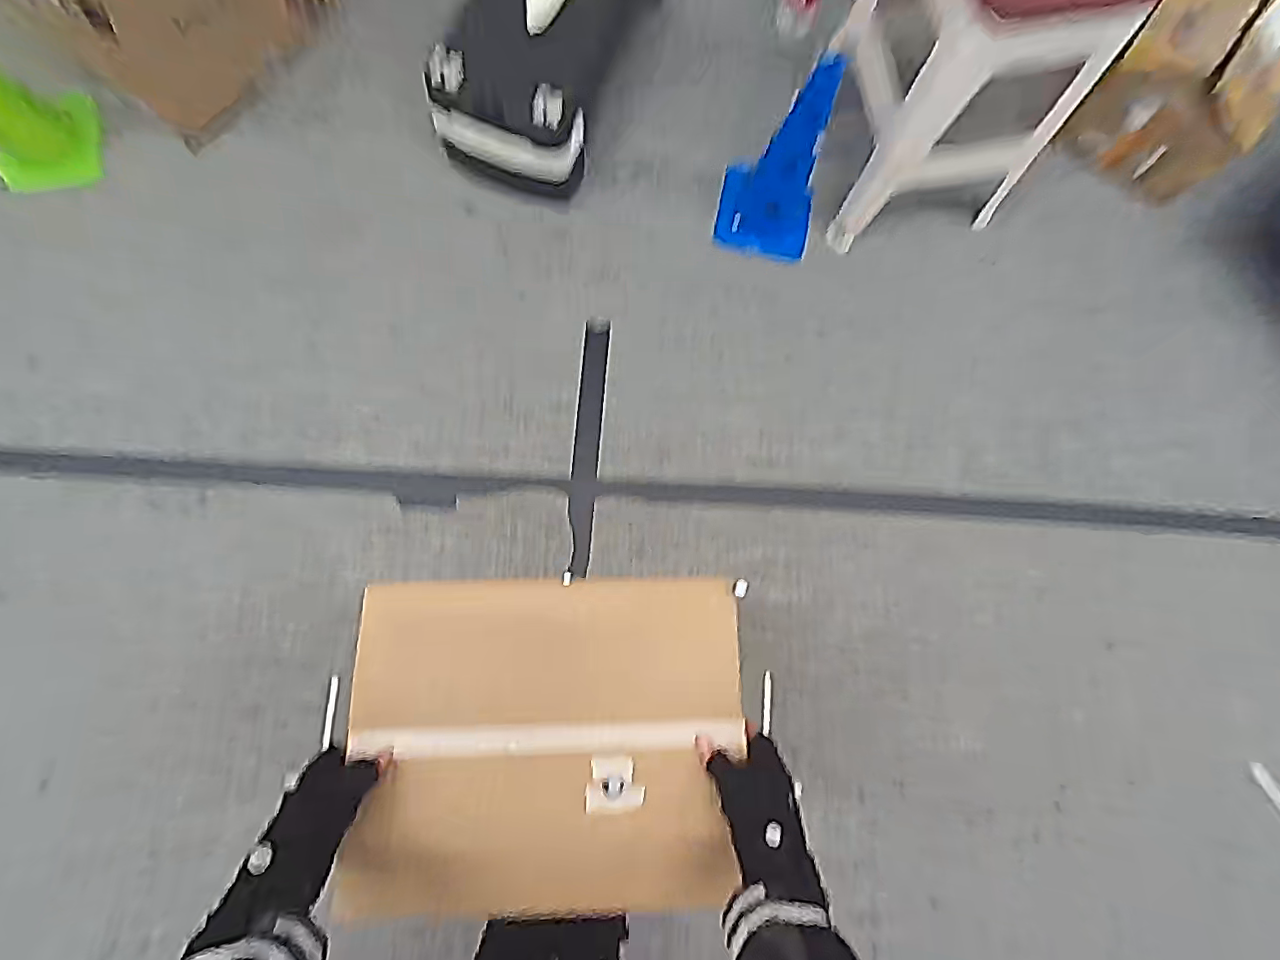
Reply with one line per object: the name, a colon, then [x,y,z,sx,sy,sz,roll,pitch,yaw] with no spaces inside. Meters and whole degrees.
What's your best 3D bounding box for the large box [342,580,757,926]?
large box: [-0.096,0.306,0.697,0.408,0.320,0.320,-1,75,-3]
